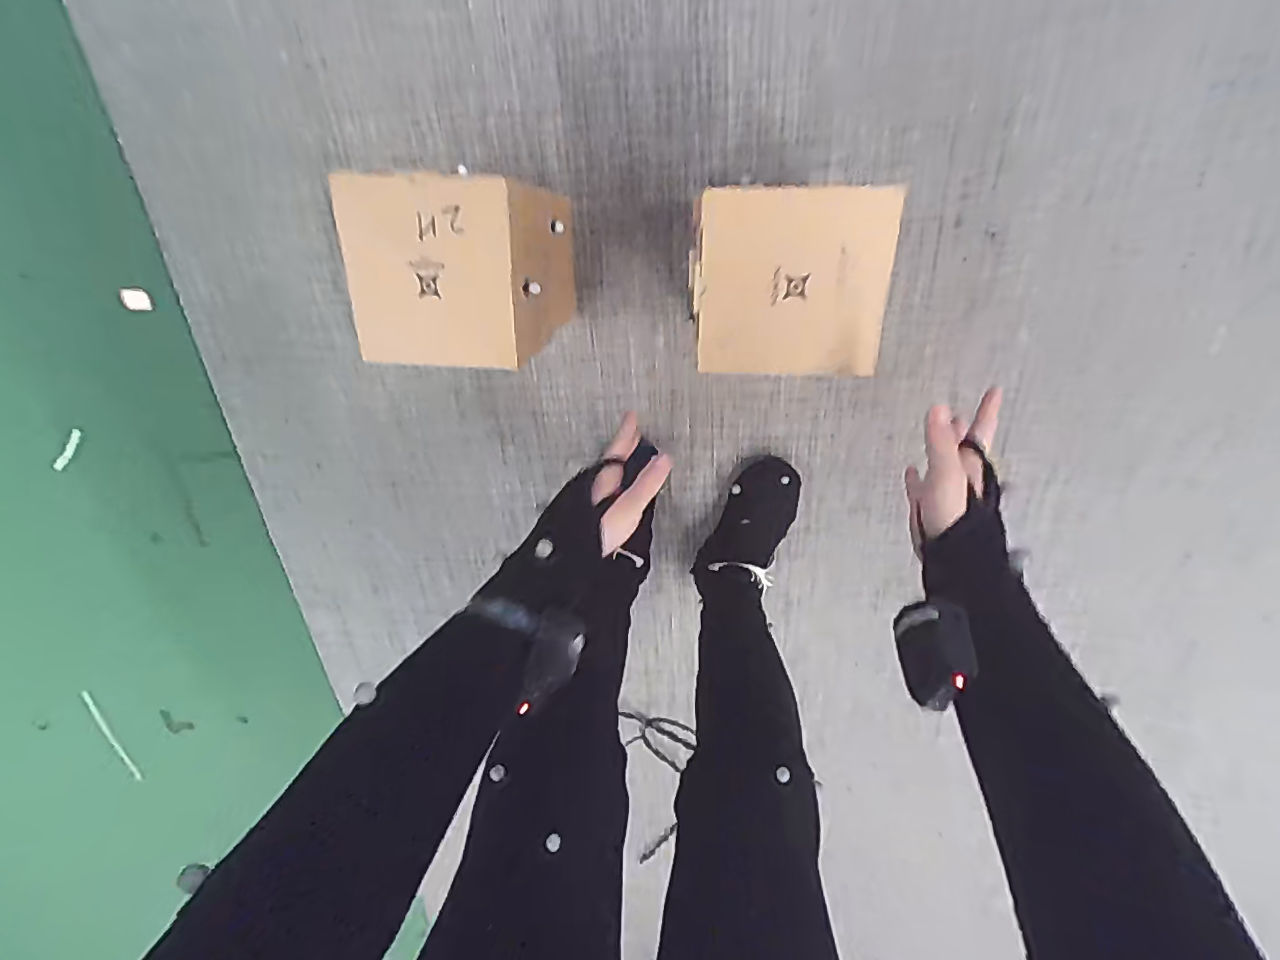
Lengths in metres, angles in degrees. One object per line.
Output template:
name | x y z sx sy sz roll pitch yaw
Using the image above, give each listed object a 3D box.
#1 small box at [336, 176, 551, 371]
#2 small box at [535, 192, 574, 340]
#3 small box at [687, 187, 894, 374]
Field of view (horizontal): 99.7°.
small box | -0.198 -0.232 0.604 0.168 0.176 0.179 3 115 3
small box | -0.189 -0.300 0.754 0.168 0.176 0.179 2 114 4
small box | 0.142 -0.216 0.581 0.179 0.176 0.168 2 115 4
